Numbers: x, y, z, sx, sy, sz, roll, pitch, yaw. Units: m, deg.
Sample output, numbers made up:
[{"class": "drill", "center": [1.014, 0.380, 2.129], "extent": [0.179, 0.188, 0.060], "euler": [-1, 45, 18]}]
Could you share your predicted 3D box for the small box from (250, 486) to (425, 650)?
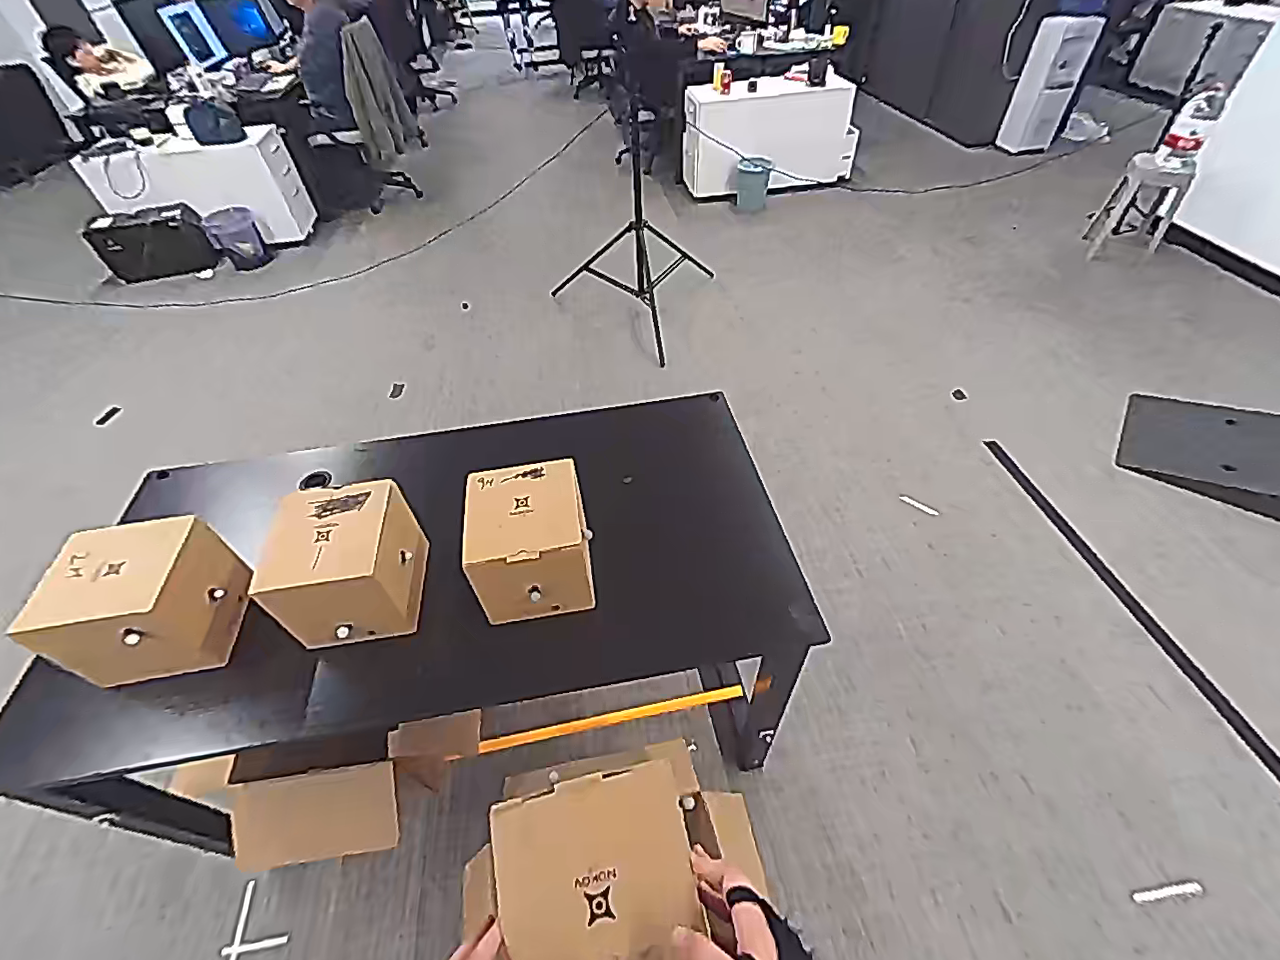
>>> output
[{"class": "small box", "center": [-0.445, 0.135, 0.833], "extent": [0.168, 0.176, 0.179], "euler": [-8, 48, -4]}]

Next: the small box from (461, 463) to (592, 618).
[{"class": "small box", "center": [-0.172, 0.101, 0.850], "extent": [0.168, 0.176, 0.179], "euler": [-9, 48, -4]}]

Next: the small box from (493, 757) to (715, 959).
[{"class": "small box", "center": [-0.031, 0.382, 0.520], "extent": [0.168, 0.176, 0.179], "euler": [-14, 63, -4]}]

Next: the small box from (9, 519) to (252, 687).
[{"class": "small box", "center": [-0.724, 0.184, 0.802], "extent": [0.179, 0.176, 0.168], "euler": [-9, 47, -6]}]
